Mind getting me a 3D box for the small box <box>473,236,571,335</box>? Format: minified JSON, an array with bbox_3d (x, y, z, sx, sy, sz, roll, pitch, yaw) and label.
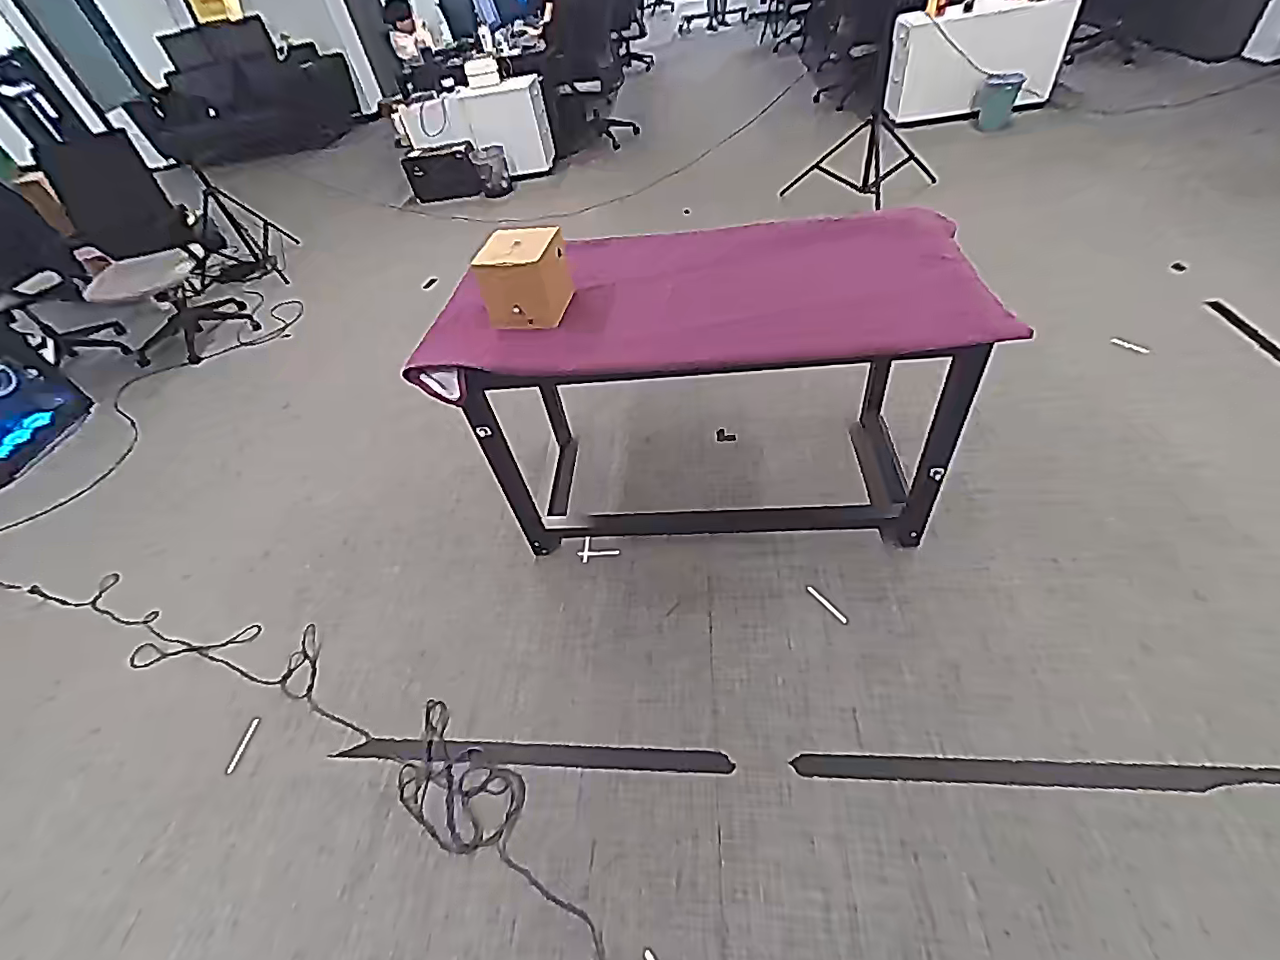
[{"bbox_3d":[-0.276,-0.473,1.316,0.168,0.176,0.179,2,48,13],"label":"small box"}]
